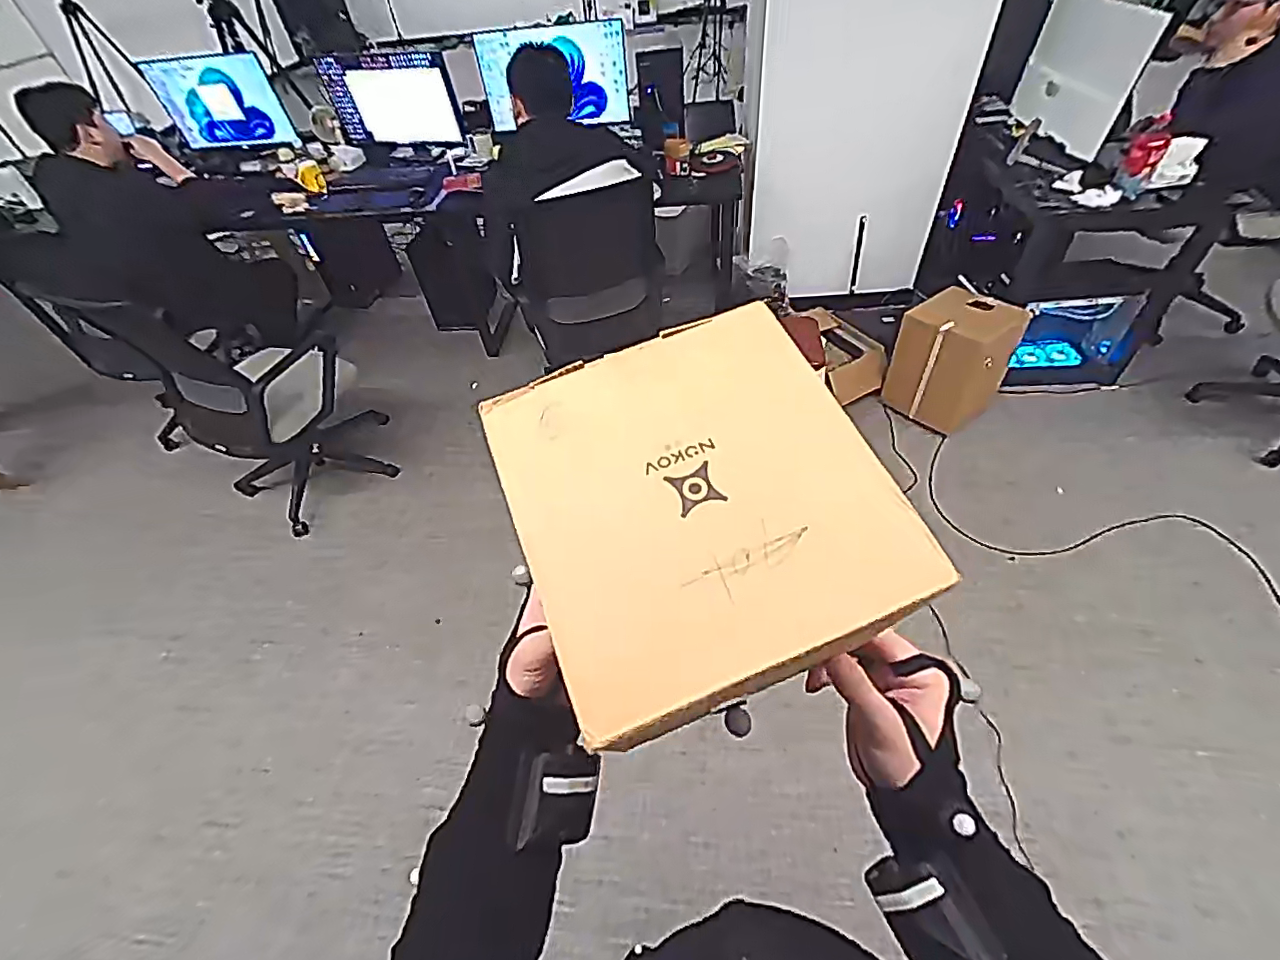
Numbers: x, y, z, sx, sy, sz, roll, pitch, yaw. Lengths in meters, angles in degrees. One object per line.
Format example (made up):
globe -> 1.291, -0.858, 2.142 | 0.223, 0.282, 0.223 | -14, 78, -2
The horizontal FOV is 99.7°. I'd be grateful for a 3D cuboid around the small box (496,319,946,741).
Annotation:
small box -> 0.032, 0.042, 0.332 | 0.168, 0.176, 0.179 | -22, 64, -6
